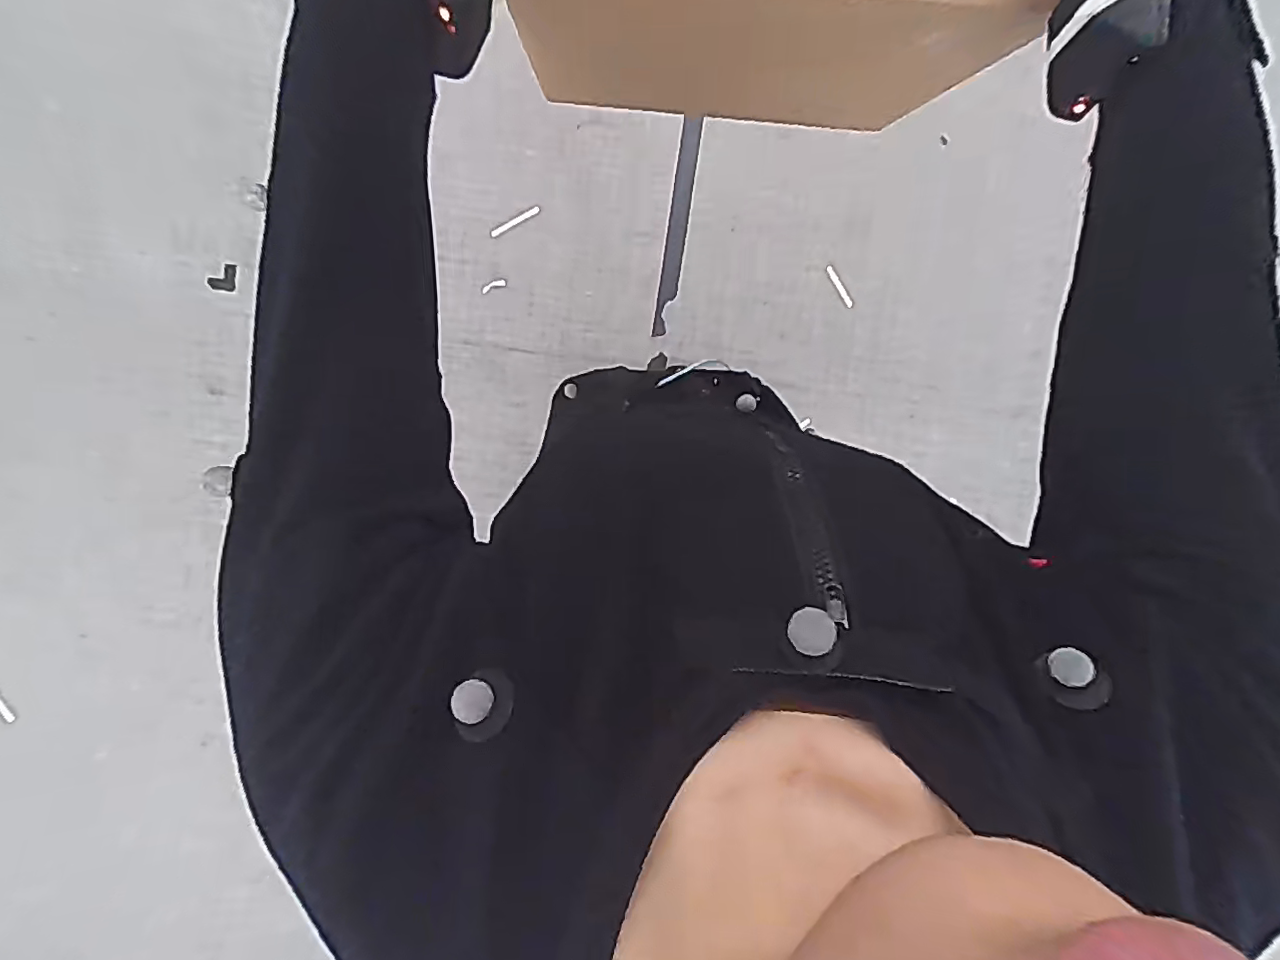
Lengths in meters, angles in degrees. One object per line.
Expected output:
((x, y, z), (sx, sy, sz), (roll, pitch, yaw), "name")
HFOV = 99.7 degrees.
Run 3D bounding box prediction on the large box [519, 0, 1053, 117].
((0.102, -0.538, 0.456), (0.408, 0.320, 0.320), (2, 111, -4), "large box")
